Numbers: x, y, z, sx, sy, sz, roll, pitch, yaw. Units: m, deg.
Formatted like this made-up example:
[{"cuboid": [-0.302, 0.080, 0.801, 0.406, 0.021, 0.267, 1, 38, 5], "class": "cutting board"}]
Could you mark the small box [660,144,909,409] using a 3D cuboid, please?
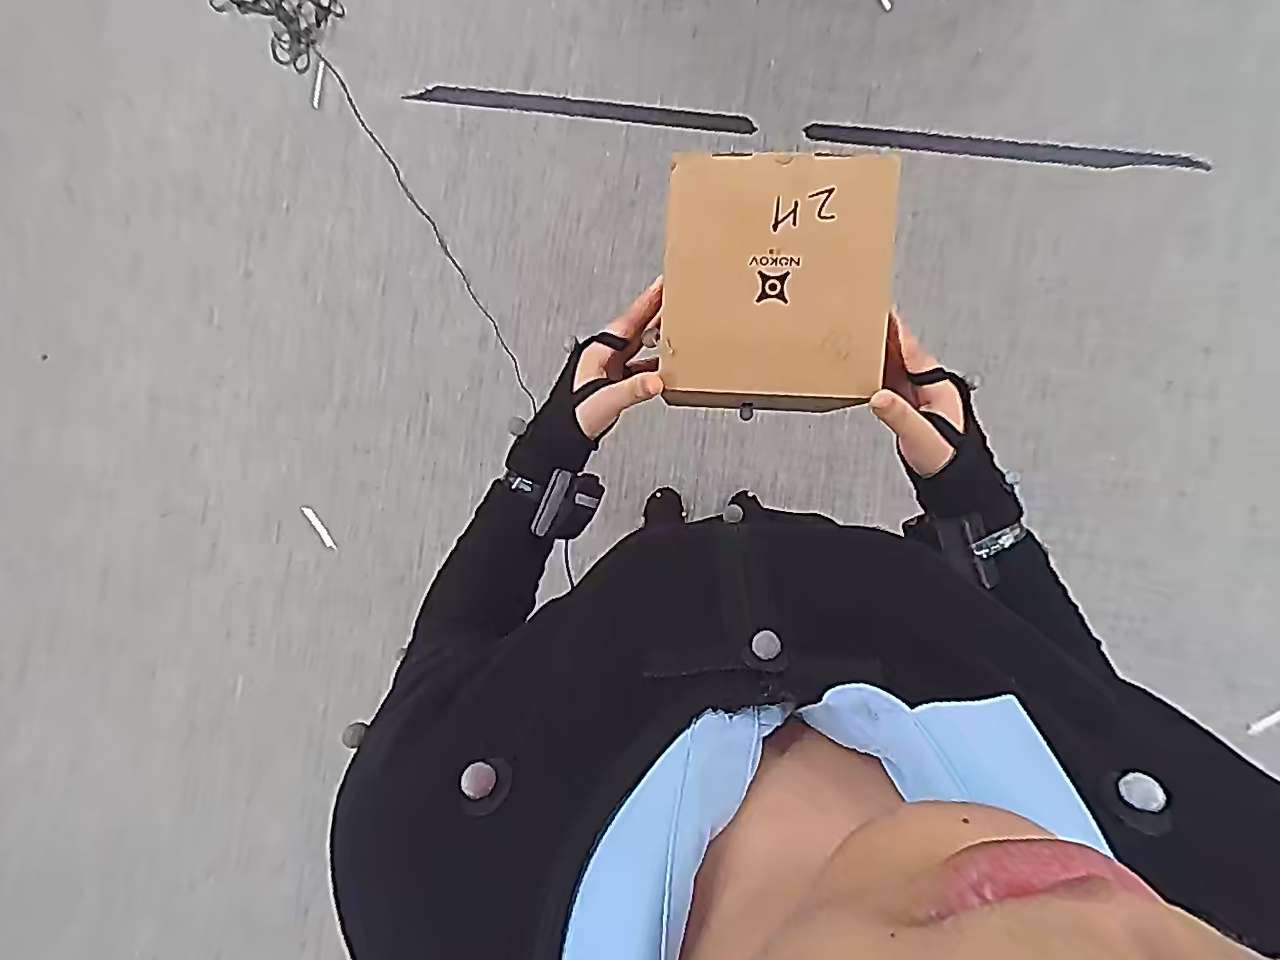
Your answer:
[{"cuboid": [0.108, -0.156, 0.468, 0.168, 0.176, 0.179, 3, 93, 4], "class": "small box"}]
